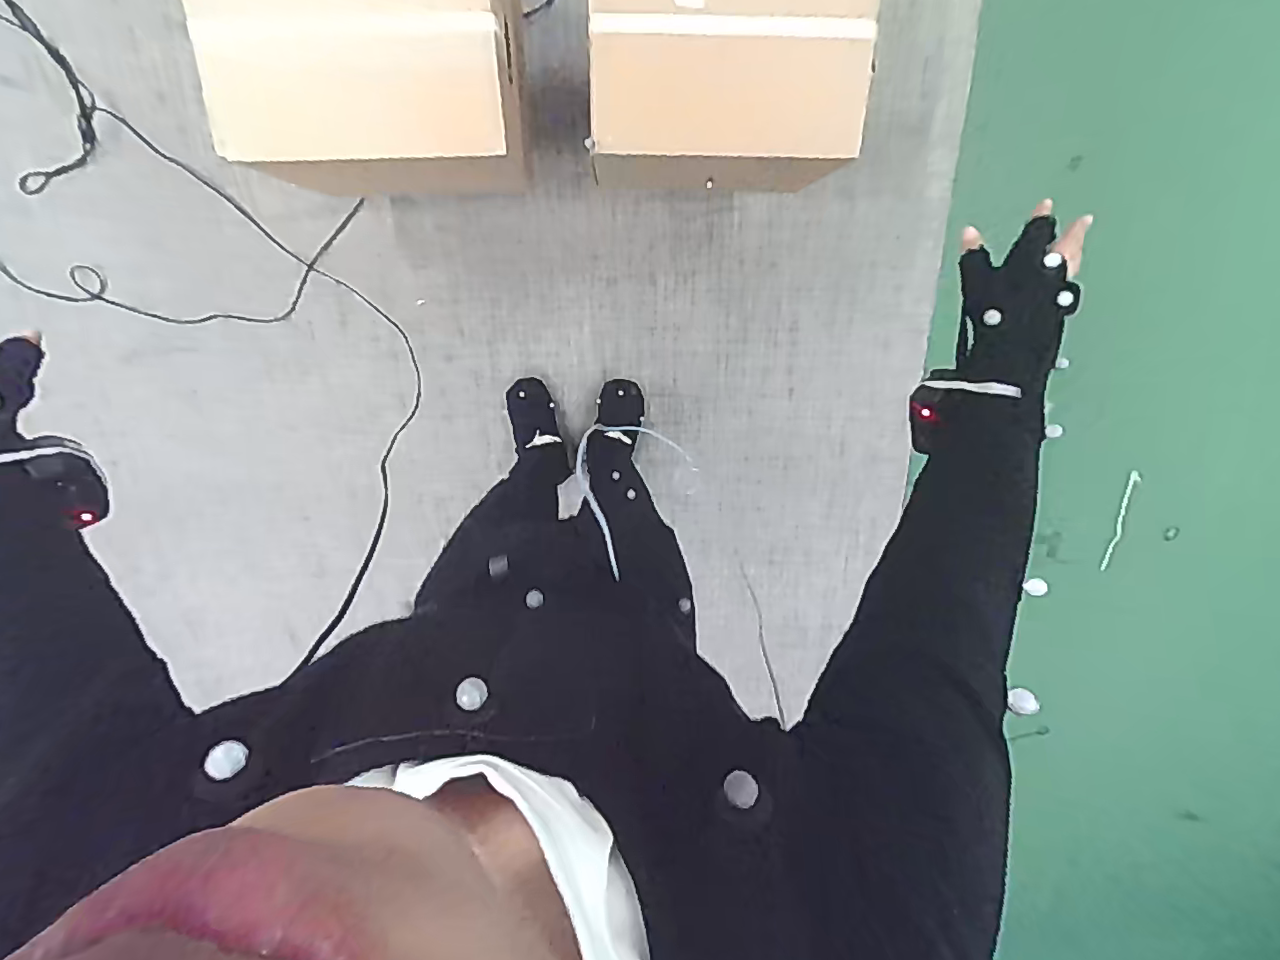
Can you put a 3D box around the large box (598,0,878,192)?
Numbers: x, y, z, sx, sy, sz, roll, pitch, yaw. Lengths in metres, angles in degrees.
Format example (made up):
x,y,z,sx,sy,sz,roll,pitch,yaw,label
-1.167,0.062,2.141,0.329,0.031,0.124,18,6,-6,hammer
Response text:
x,y,z,sx,sy,sz,roll,pitch,yaw,label
0.135,-0.682,0.916,0.408,0.320,0.320,0,109,-3,large box
